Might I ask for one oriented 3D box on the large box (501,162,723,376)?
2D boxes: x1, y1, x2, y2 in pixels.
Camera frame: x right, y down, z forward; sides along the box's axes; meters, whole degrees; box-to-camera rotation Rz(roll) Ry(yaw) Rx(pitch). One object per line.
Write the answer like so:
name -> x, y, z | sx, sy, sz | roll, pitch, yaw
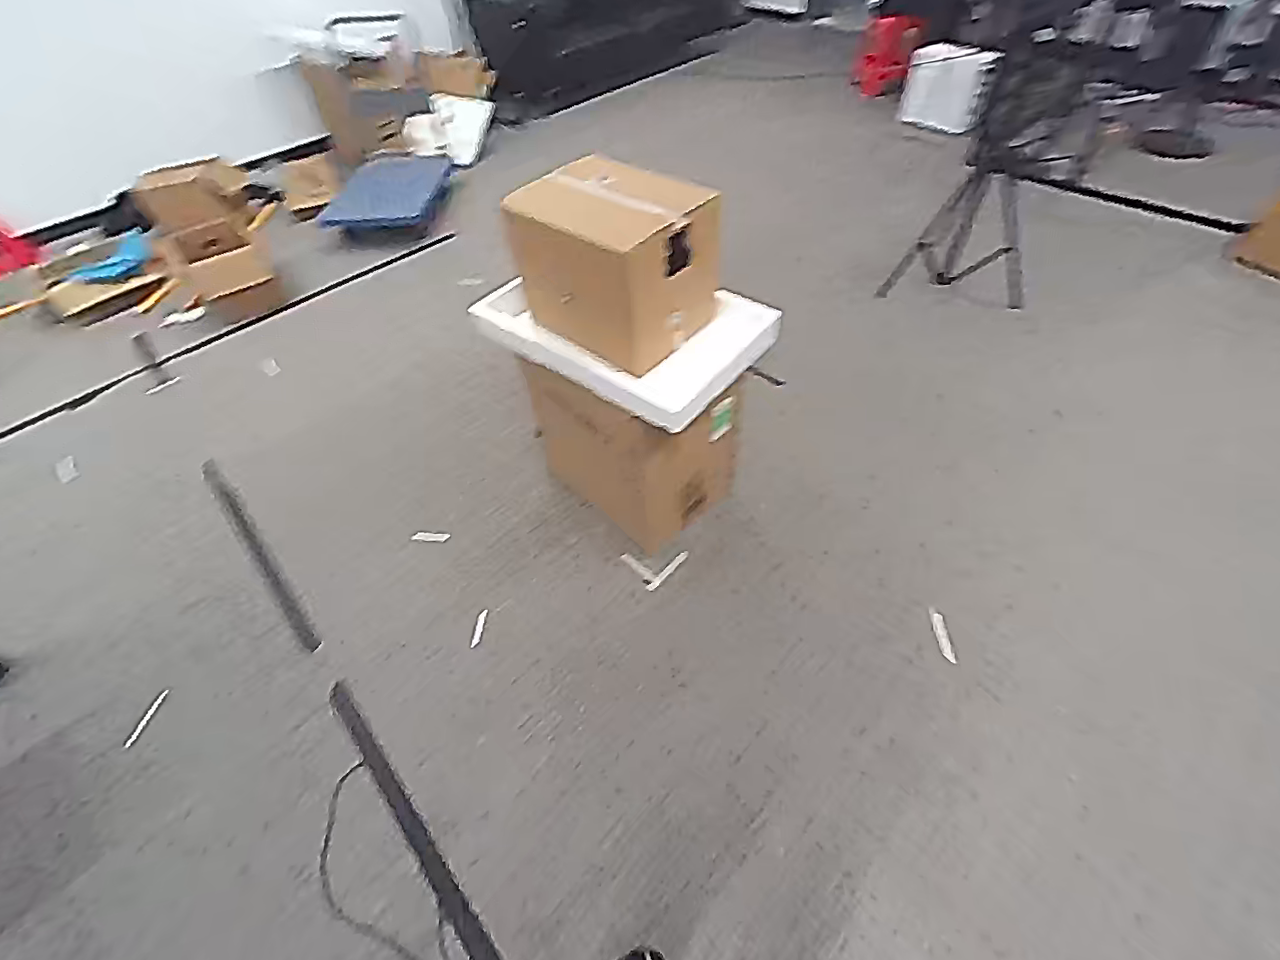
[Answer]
large box -> -0.053, -0.510, 1.295 | 0.408, 0.320, 0.320 | 32, 59, 28
